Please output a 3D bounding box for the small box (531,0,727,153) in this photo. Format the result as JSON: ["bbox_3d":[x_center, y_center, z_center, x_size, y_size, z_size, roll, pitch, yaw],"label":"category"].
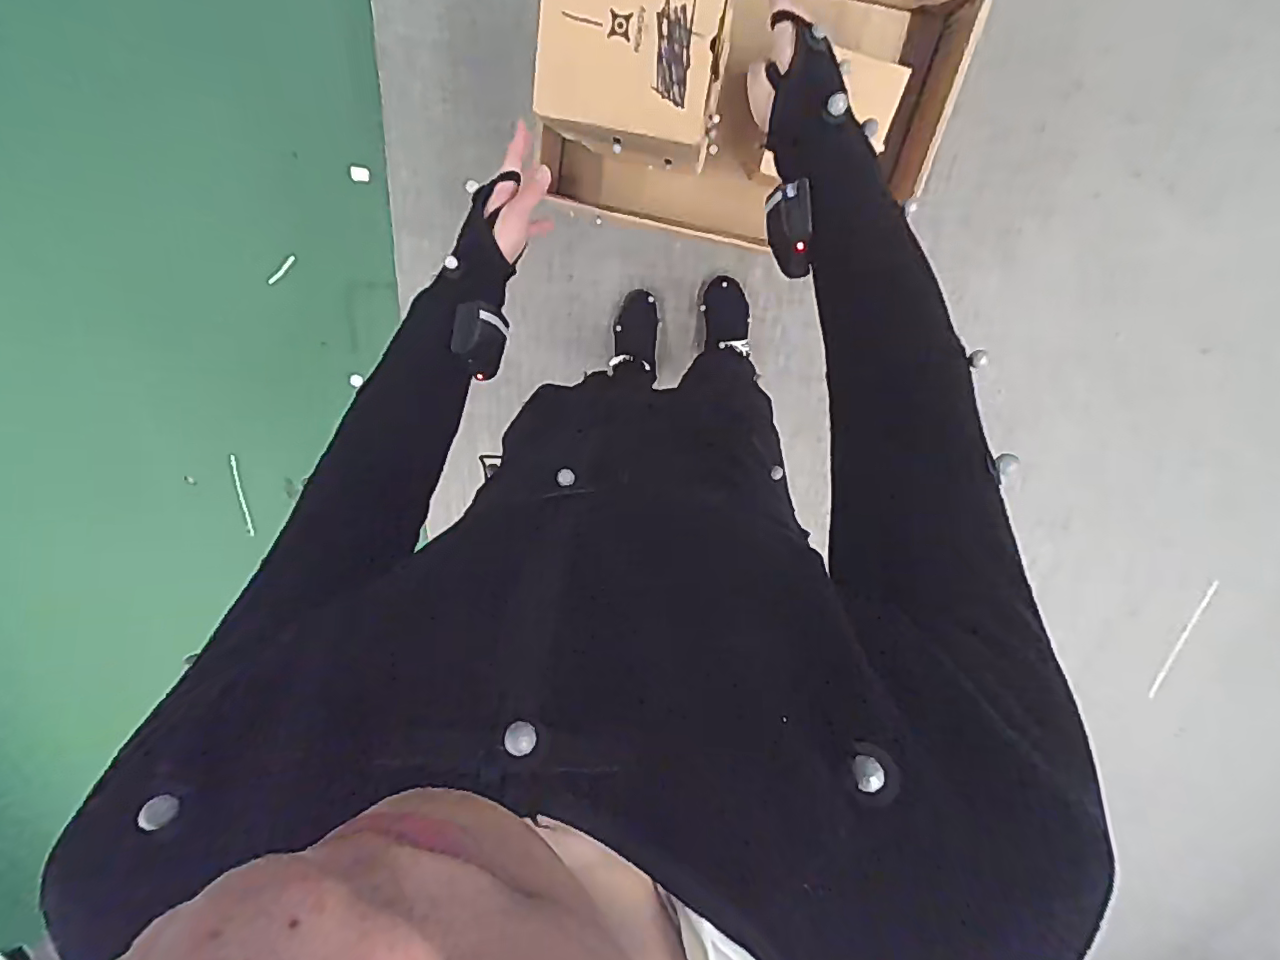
[{"bbox_3d":[-0.005,-0.469,0.588,0.179,0.176,0.168,12,116,2],"label":"small box"}]

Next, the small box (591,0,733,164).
[{"bbox_3d":[0.017,-0.543,0.733,0.179,0.176,0.168,13,117,0],"label":"small box"}]
